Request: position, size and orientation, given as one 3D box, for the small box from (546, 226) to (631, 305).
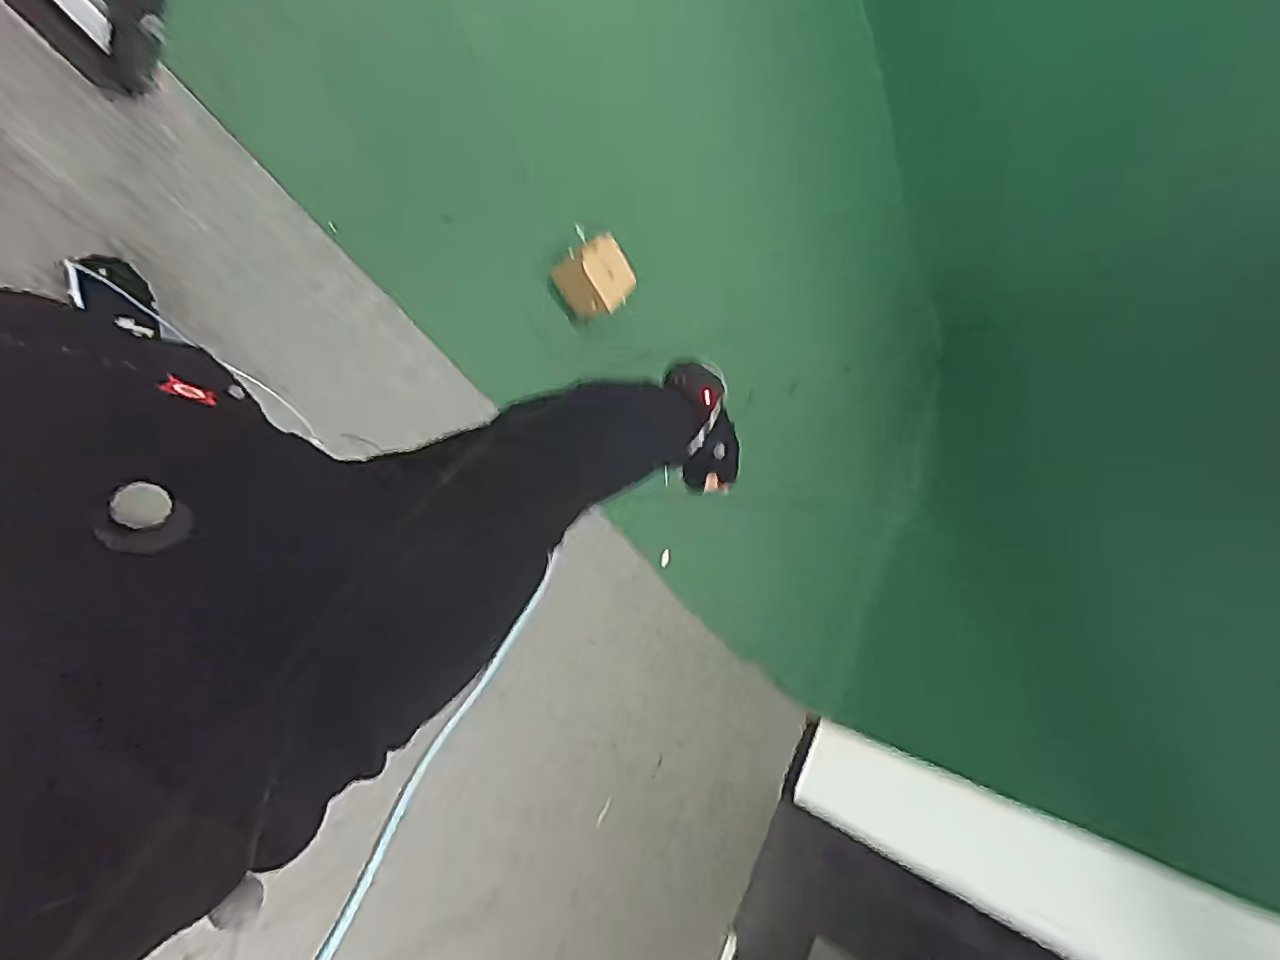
[{"bbox_3d":[-0.169,-0.688,1.758,0.168,0.176,0.179,-57,131,-23],"label":"small box"}]
